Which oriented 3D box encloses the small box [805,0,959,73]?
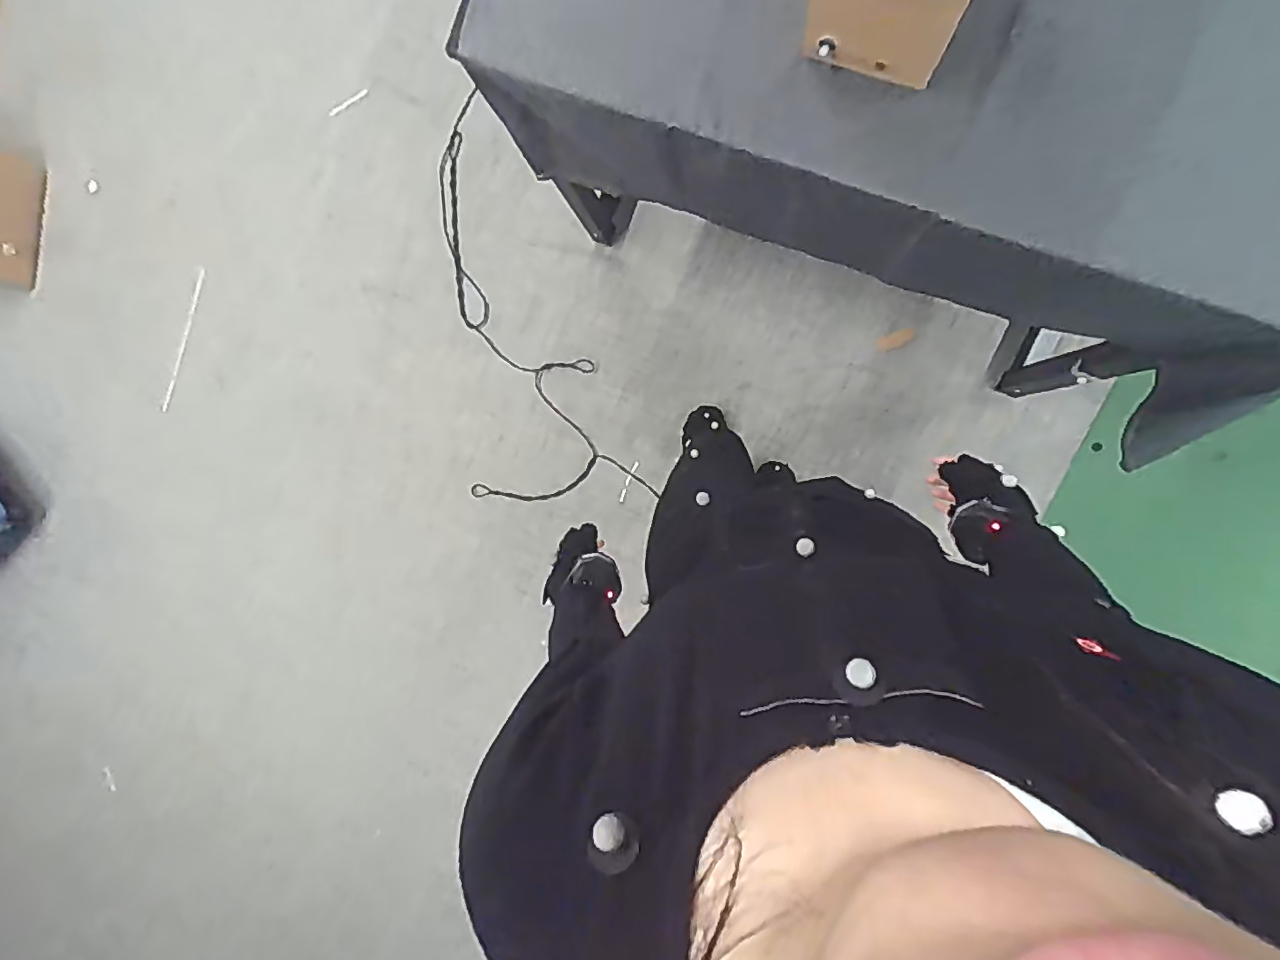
[{"bbox_3d":[0.297,-0.608,0.602,0.168,0.176,0.179,23,96,8],"label":"small box"}]
